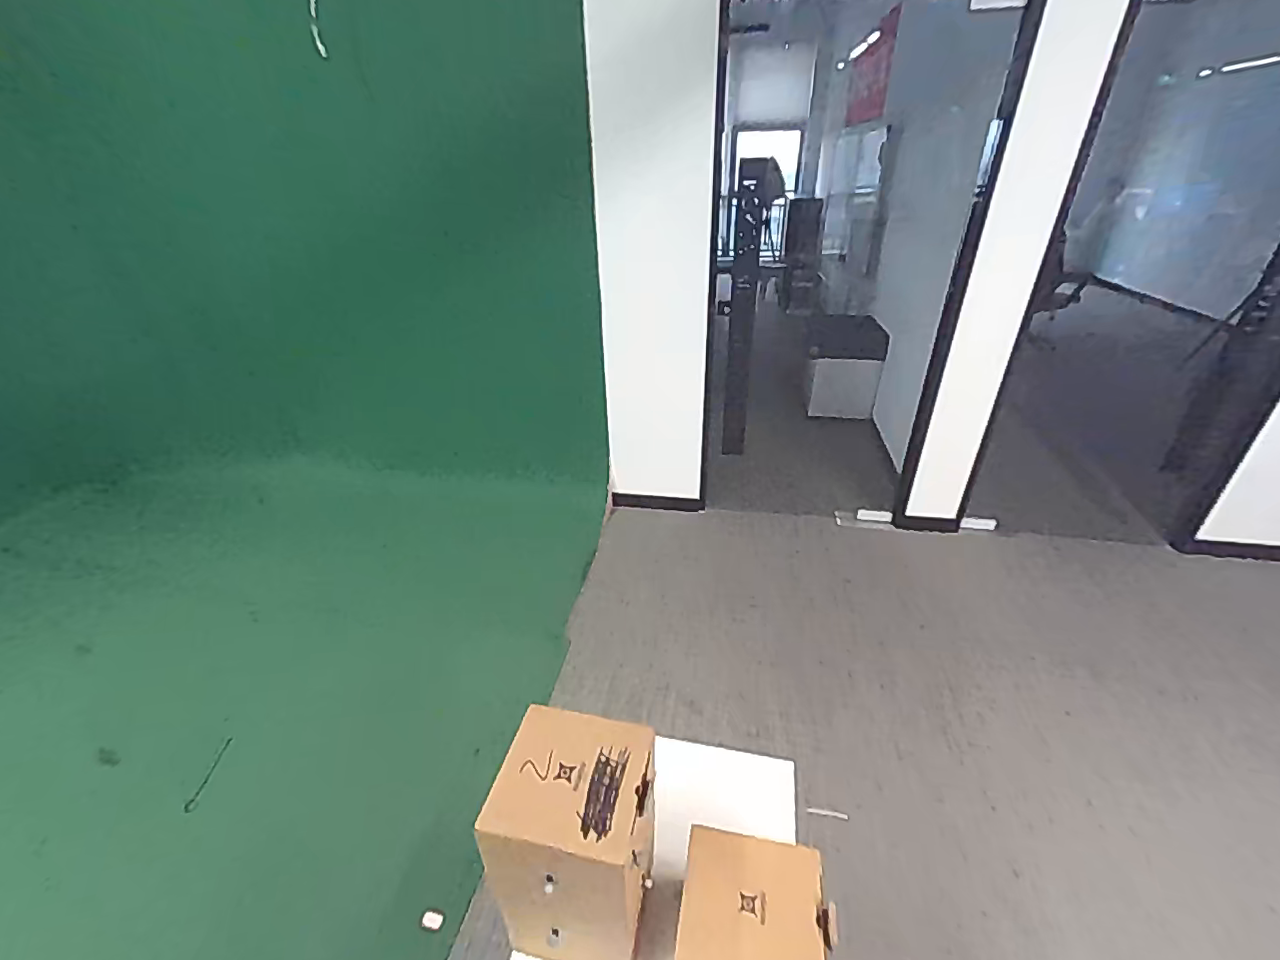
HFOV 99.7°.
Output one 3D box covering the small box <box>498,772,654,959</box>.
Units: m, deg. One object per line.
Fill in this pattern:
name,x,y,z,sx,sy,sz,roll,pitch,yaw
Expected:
small box,-0.079,0.559,0.776,0.179,0.176,0.168,6,32,11
